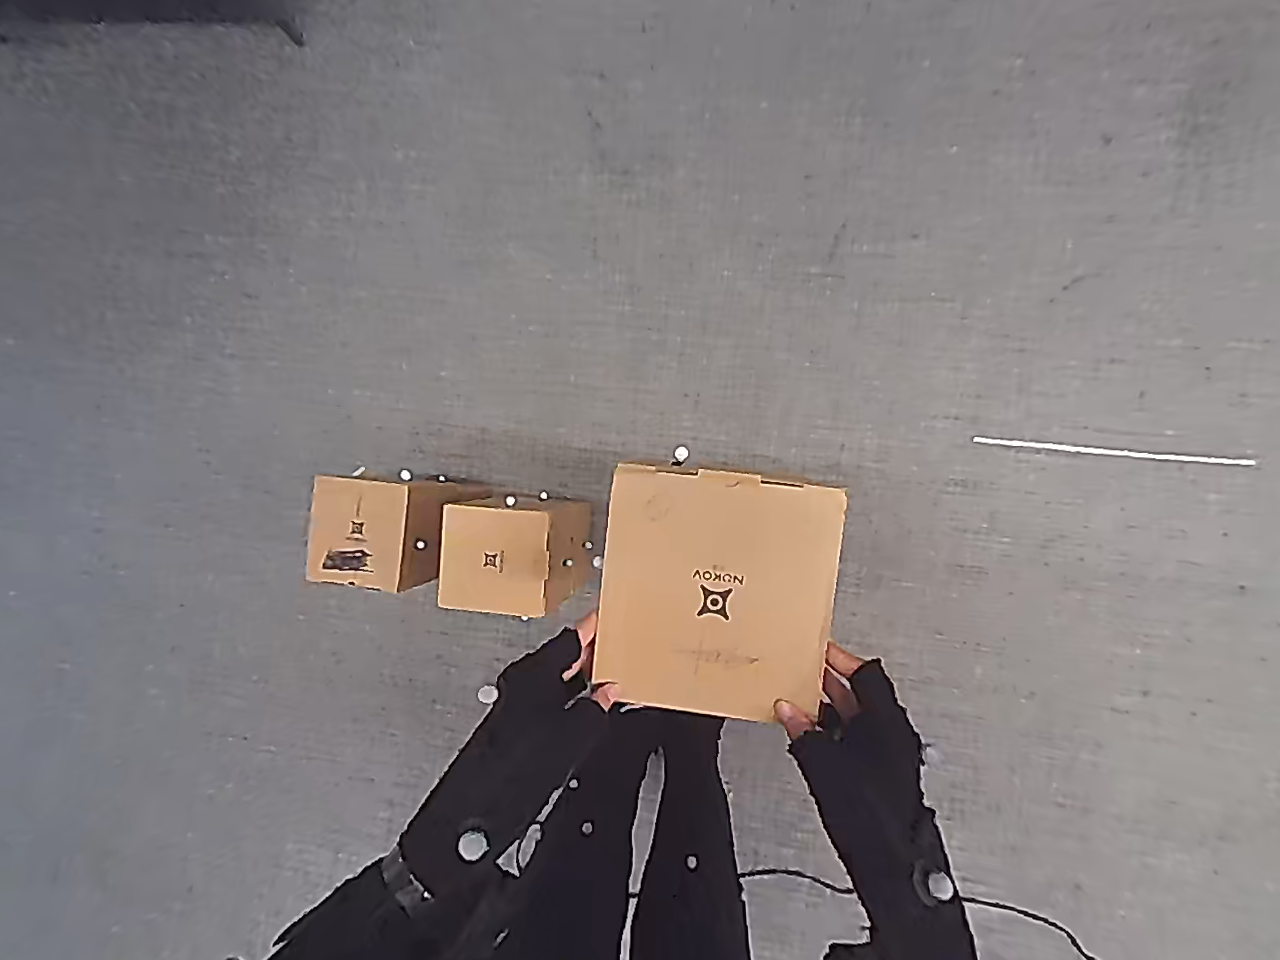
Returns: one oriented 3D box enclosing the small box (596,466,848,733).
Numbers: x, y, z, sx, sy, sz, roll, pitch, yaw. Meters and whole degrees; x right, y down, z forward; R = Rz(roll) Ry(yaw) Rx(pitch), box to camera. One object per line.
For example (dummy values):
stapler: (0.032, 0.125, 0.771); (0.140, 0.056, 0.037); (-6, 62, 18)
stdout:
small box: (0.063, 0.083, 0.470); (0.168, 0.176, 0.179); (7, 95, 5)

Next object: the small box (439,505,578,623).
small box: (-0.214, 0.132, 0.913); (0.179, 0.176, 0.168); (3, 91, 7)

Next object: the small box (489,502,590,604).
small box: (-0.199, 0.136, 1.076); (0.168, 0.176, 0.179); (5, 90, 8)
